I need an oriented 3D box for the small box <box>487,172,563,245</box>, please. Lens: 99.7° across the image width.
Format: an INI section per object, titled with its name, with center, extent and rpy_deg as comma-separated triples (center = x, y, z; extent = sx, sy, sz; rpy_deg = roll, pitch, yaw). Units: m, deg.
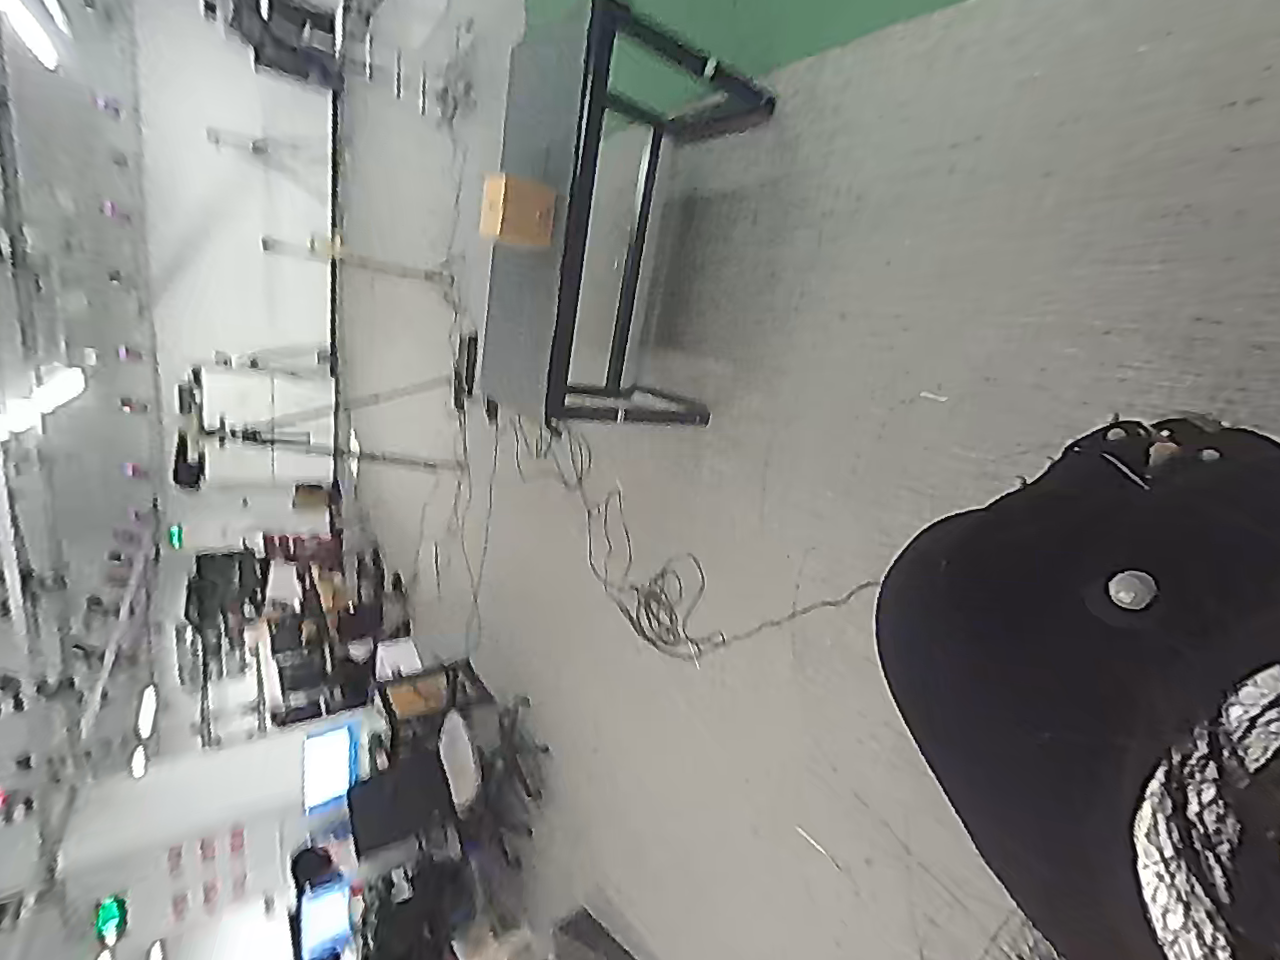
[small box]
center = -0.357, -0.833, 1.673
extent = 0.179, 0.176, 0.168
rpy_deg = 31, 117, 49
